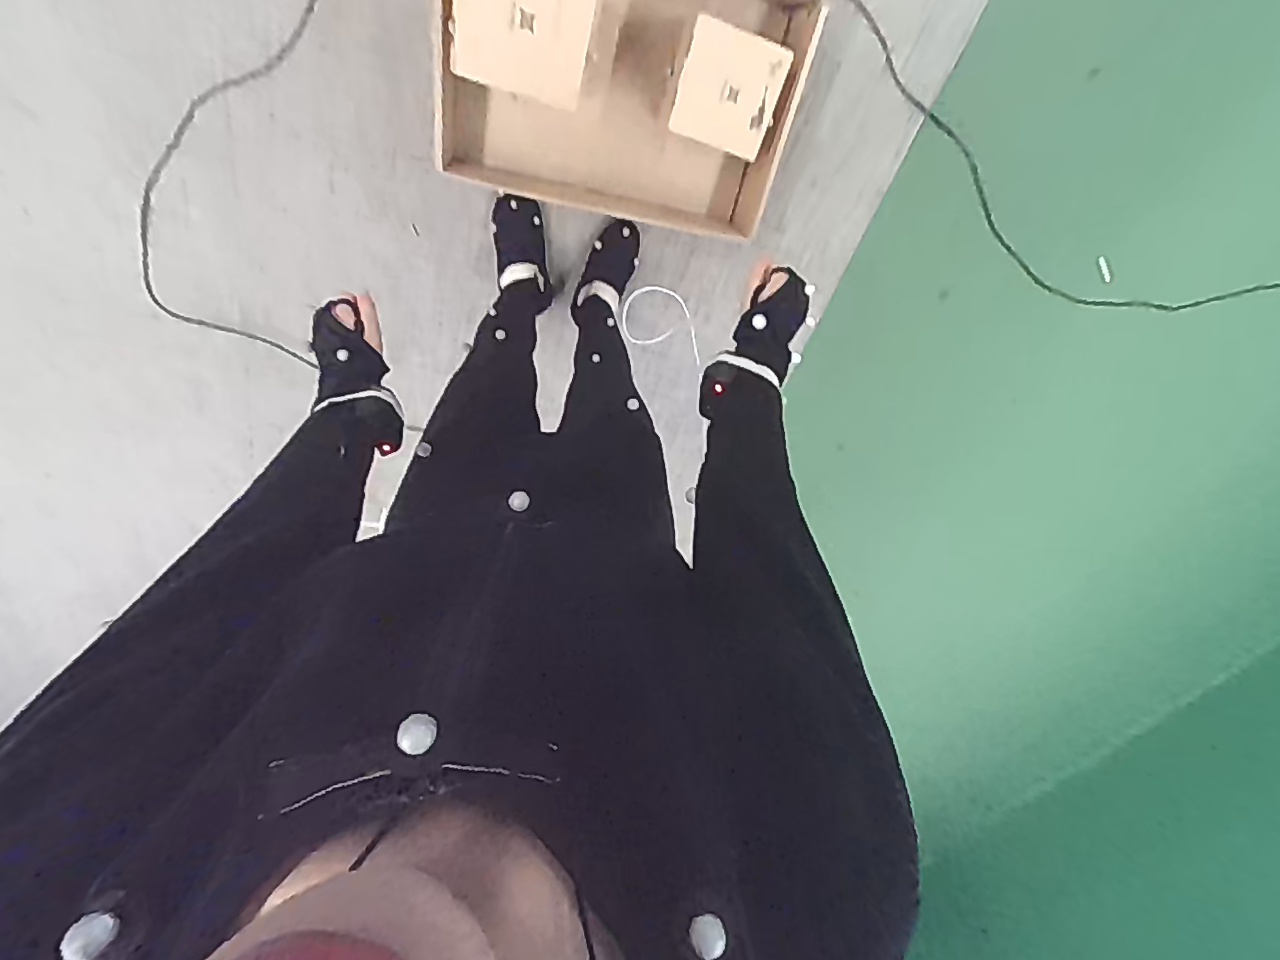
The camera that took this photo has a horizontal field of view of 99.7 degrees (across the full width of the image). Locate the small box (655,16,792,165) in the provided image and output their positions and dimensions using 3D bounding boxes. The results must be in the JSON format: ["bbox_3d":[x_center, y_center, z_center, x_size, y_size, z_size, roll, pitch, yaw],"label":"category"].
[{"bbox_3d":[0.138,-0.698,0.979,0.179,0.176,0.168,11,125,-16],"label":"small box"}]

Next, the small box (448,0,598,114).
[{"bbox_3d":[-0.161,-0.645,0.764,0.179,0.176,0.168,9,127,-17],"label":"small box"}]
